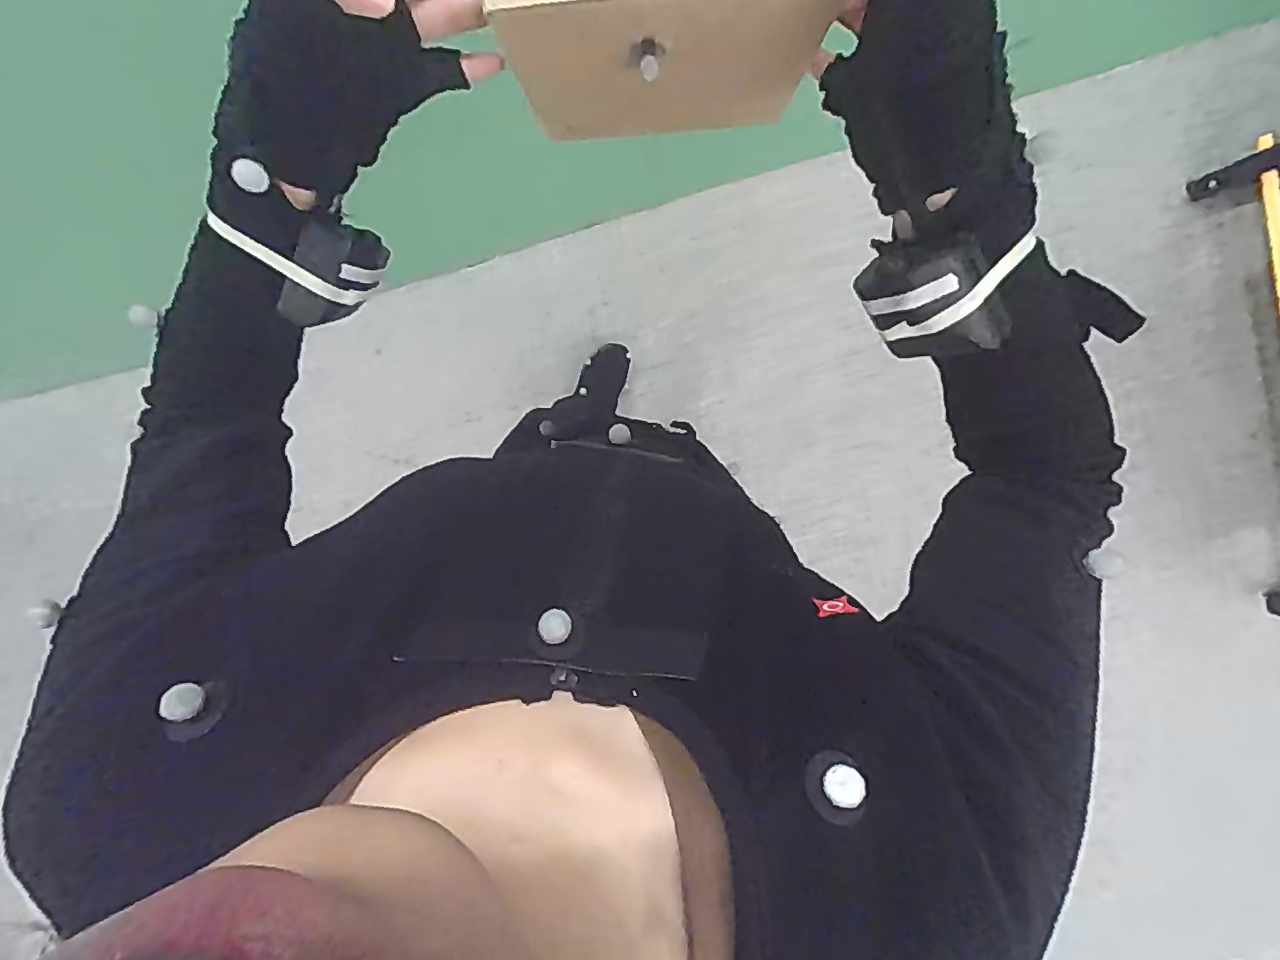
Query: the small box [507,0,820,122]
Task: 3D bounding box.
[{"bbox_3d":[0.013,-0.333,0.314,0.179,0.176,0.168,-3,105,2],"label":"small box"}]
